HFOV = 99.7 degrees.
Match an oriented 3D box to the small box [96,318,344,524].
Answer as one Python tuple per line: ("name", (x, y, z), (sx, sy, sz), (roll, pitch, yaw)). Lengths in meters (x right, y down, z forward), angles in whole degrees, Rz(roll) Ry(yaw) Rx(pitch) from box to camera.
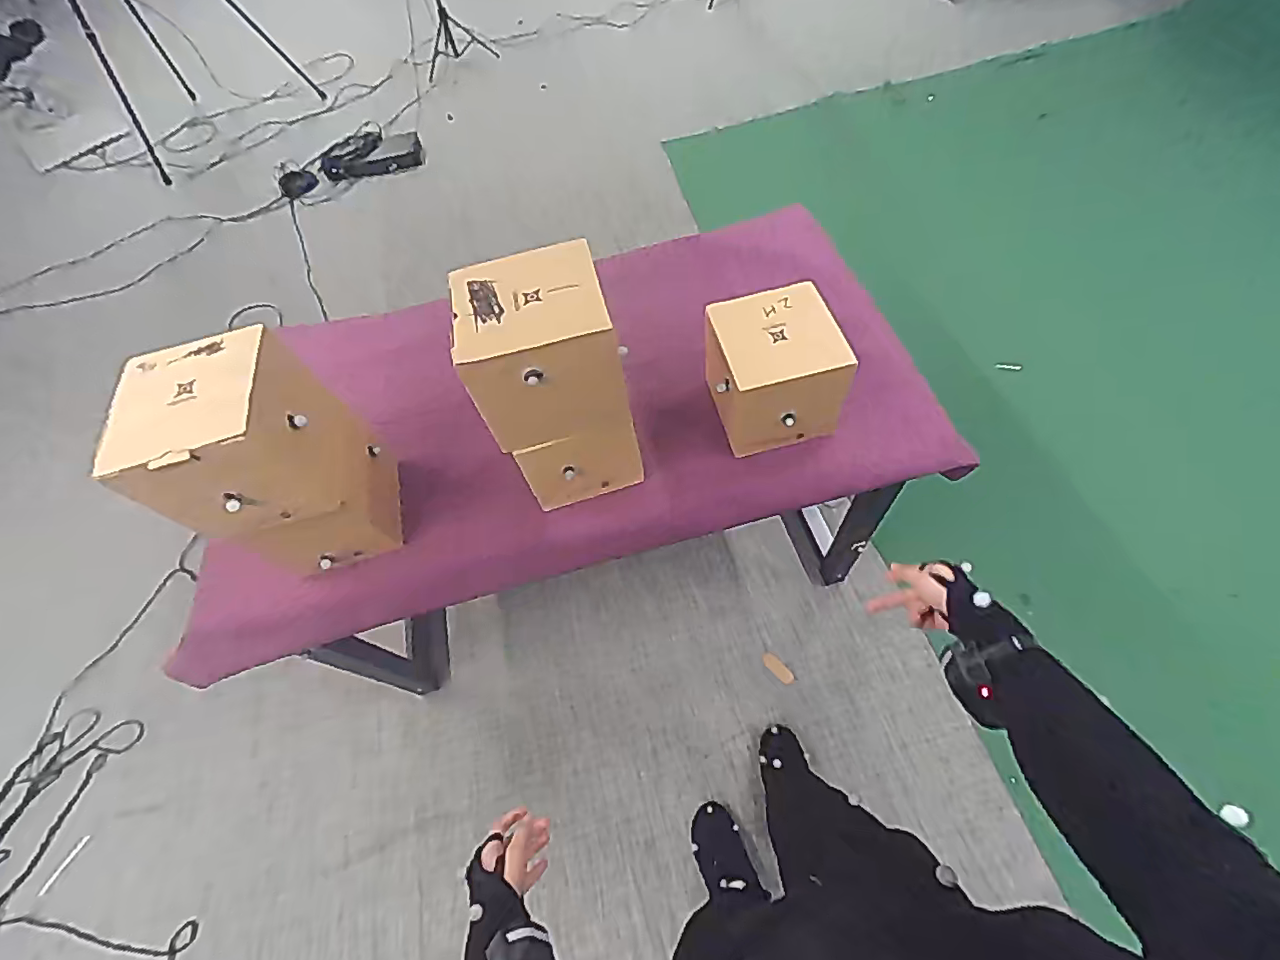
("small box", (-0.491, -0.061, 0.666), (0.168, 0.176, 0.179), (-15, 60, -2))

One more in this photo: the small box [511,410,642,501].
("small box", (-0.102, -0.086, 0.826), (0.168, 0.176, 0.179), (-17, 58, -3))

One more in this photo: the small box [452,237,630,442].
("small box", (-0.120, -0.169, 0.685), (0.179, 0.176, 0.168), (-14, 58, -1))

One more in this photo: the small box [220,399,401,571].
("small box", (-0.478, 0.012, 0.812), (0.168, 0.176, 0.179), (-16, 60, -3))

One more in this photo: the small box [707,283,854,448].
("small box", (0.204, -0.166, 0.833), (0.168, 0.176, 0.179), (-12, 58, 0))
